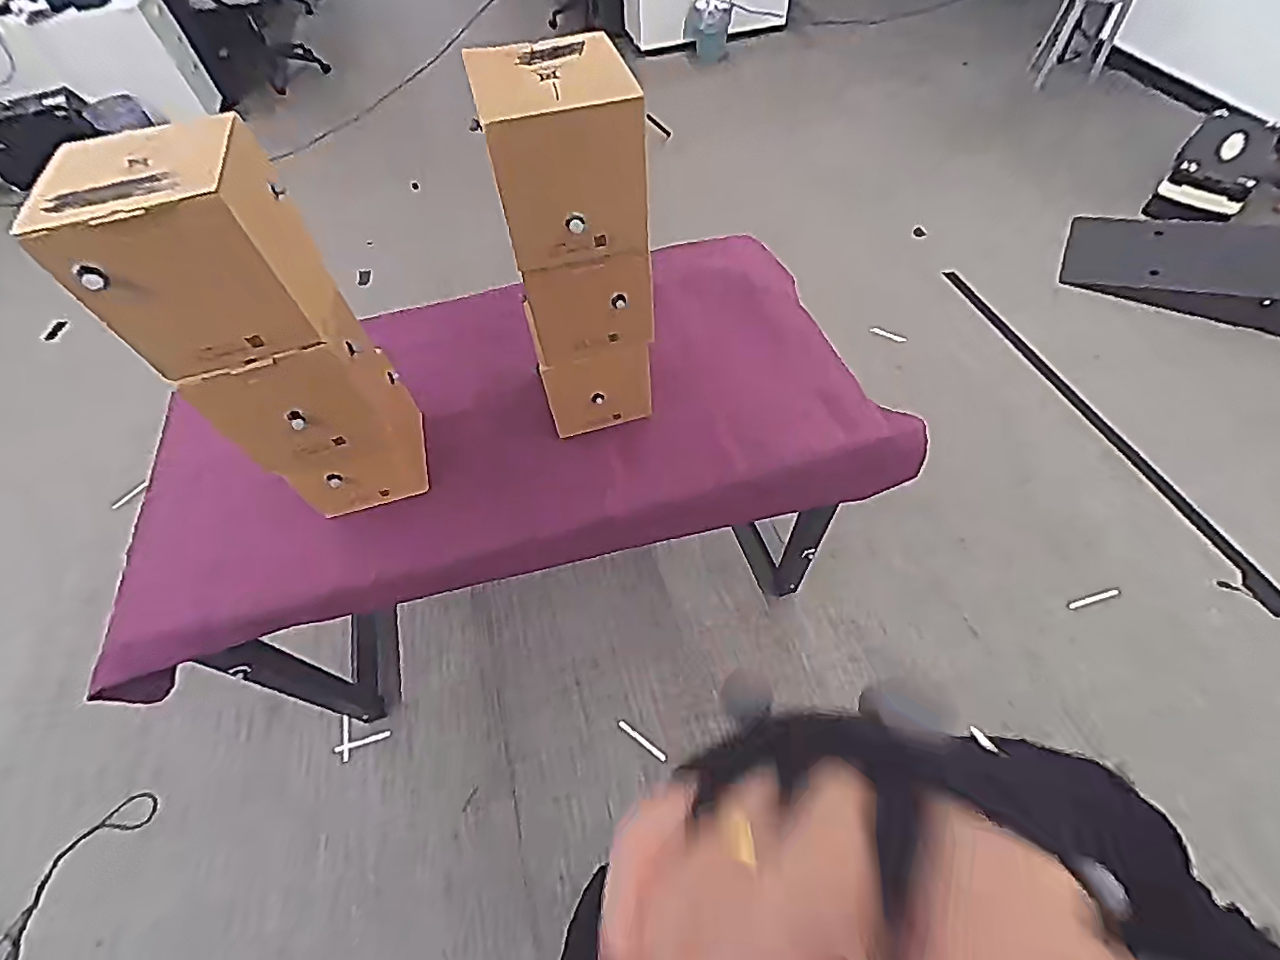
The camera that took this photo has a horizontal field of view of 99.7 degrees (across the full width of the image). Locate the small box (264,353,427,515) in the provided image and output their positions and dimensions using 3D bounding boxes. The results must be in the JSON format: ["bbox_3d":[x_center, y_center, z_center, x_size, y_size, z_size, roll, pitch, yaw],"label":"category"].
[{"bbox_3d":[-0.449,-0.063,0.849,0.168,0.176,0.179,-16,57,-7],"label":"small box"}]

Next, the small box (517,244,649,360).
[{"bbox_3d":[-0.086,-0.292,0.779,0.168,0.176,0.179,-14,56,-7],"label":"small box"}]

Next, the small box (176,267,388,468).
[{"bbox_3d":[-0.448,-0.136,0.701,0.168,0.176,0.179,-20,58,-10],"label":"small box"}]

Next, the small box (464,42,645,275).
[{"bbox_3d":[-0.095,-0.374,0.637,0.168,0.176,0.179,-15,59,-7],"label":"small box"}]

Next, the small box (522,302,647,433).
[{"bbox_3d":[-0.088,-0.197,0.912,0.168,0.176,0.179,-15,57,-7],"label":"small box"}]
